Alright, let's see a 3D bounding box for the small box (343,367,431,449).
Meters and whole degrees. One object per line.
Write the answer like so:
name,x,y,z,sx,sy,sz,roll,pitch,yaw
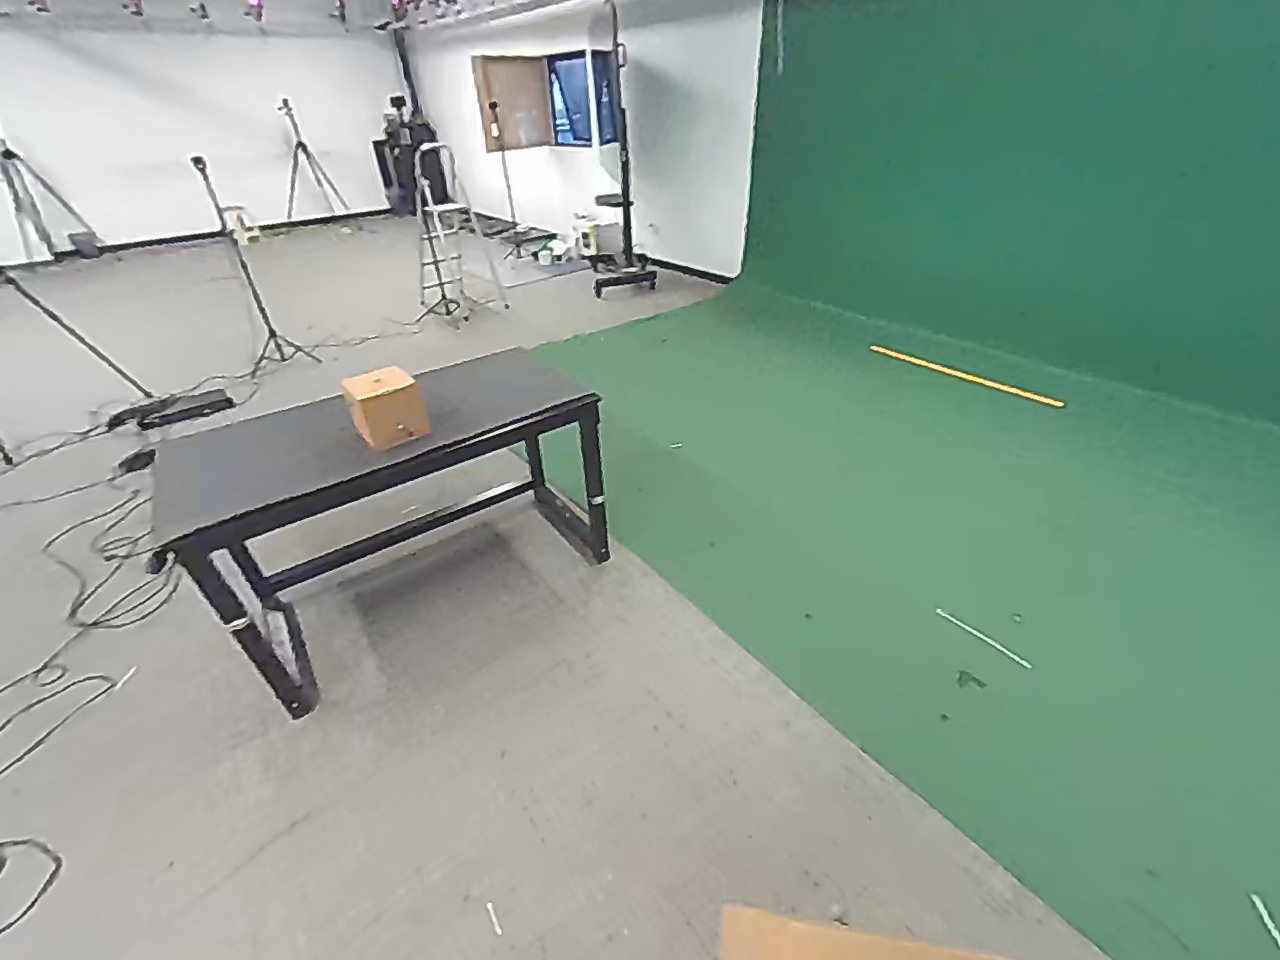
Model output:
small box,-0.741,-0.212,1.590,0.168,0.176,0.179,-27,41,-31
